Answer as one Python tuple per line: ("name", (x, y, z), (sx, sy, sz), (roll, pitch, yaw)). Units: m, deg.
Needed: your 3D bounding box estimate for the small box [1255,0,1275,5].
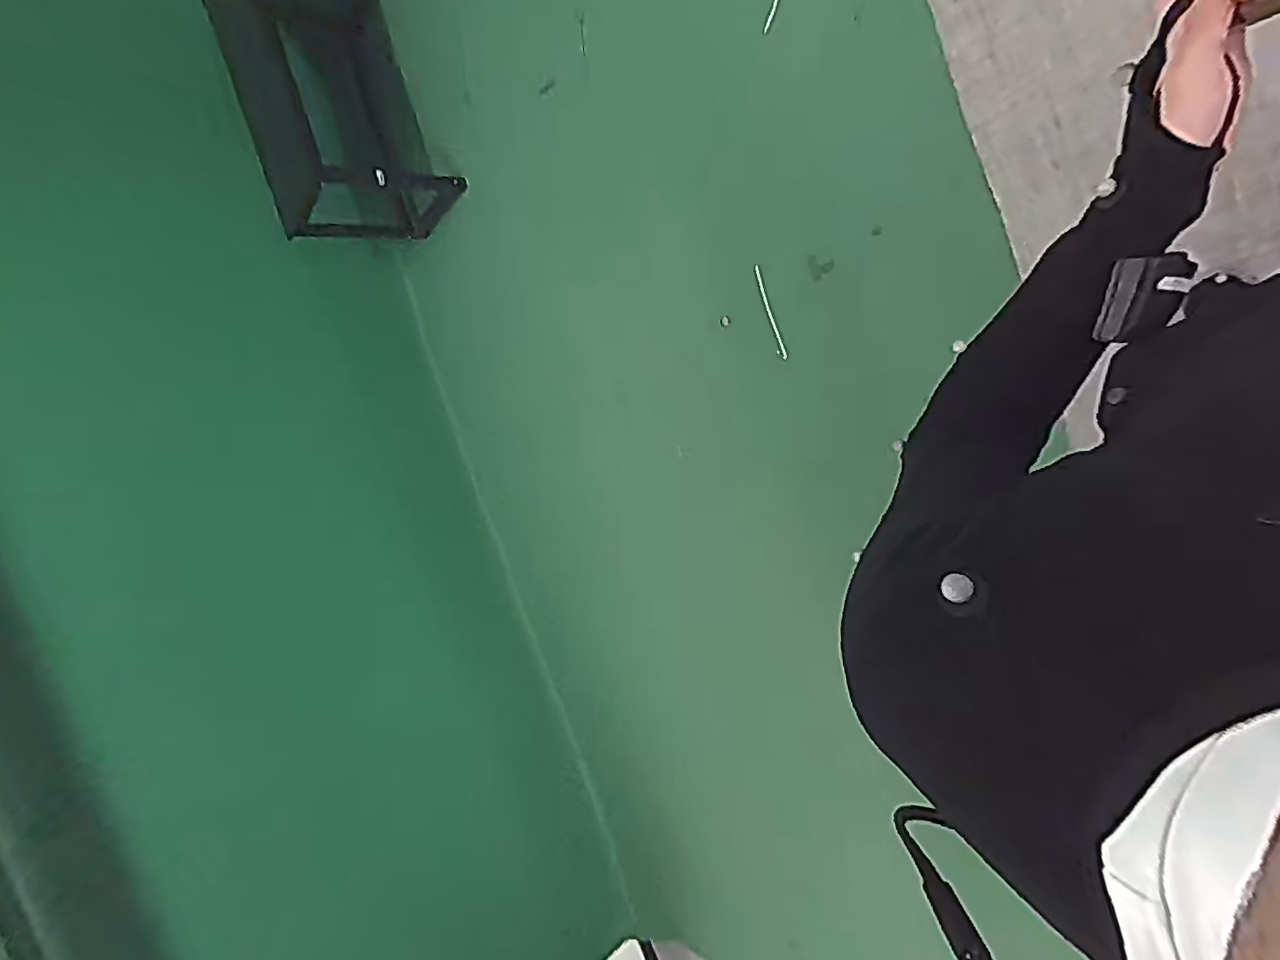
("small box", (0.410, -0.389, 0.268), (0.168, 0.176, 0.179), (-3, 113, 49))
